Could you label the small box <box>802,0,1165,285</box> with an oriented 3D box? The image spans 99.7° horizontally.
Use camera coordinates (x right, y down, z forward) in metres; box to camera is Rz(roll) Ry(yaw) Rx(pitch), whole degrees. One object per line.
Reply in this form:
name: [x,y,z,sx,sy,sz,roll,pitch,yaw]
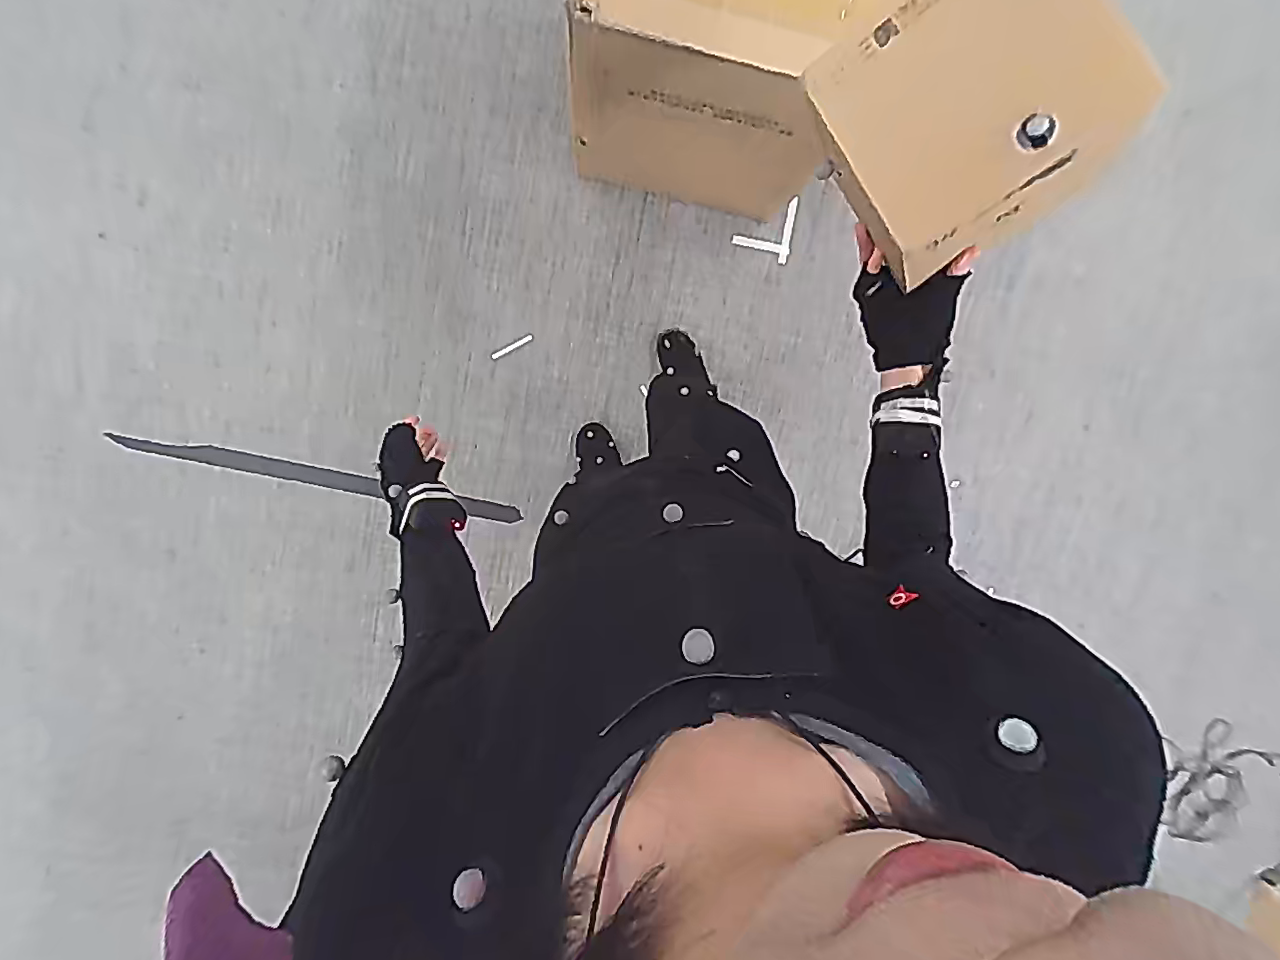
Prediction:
small box: [0.257,-0.296,0.445,0.168,0.179,0.176,-31,81,27]
